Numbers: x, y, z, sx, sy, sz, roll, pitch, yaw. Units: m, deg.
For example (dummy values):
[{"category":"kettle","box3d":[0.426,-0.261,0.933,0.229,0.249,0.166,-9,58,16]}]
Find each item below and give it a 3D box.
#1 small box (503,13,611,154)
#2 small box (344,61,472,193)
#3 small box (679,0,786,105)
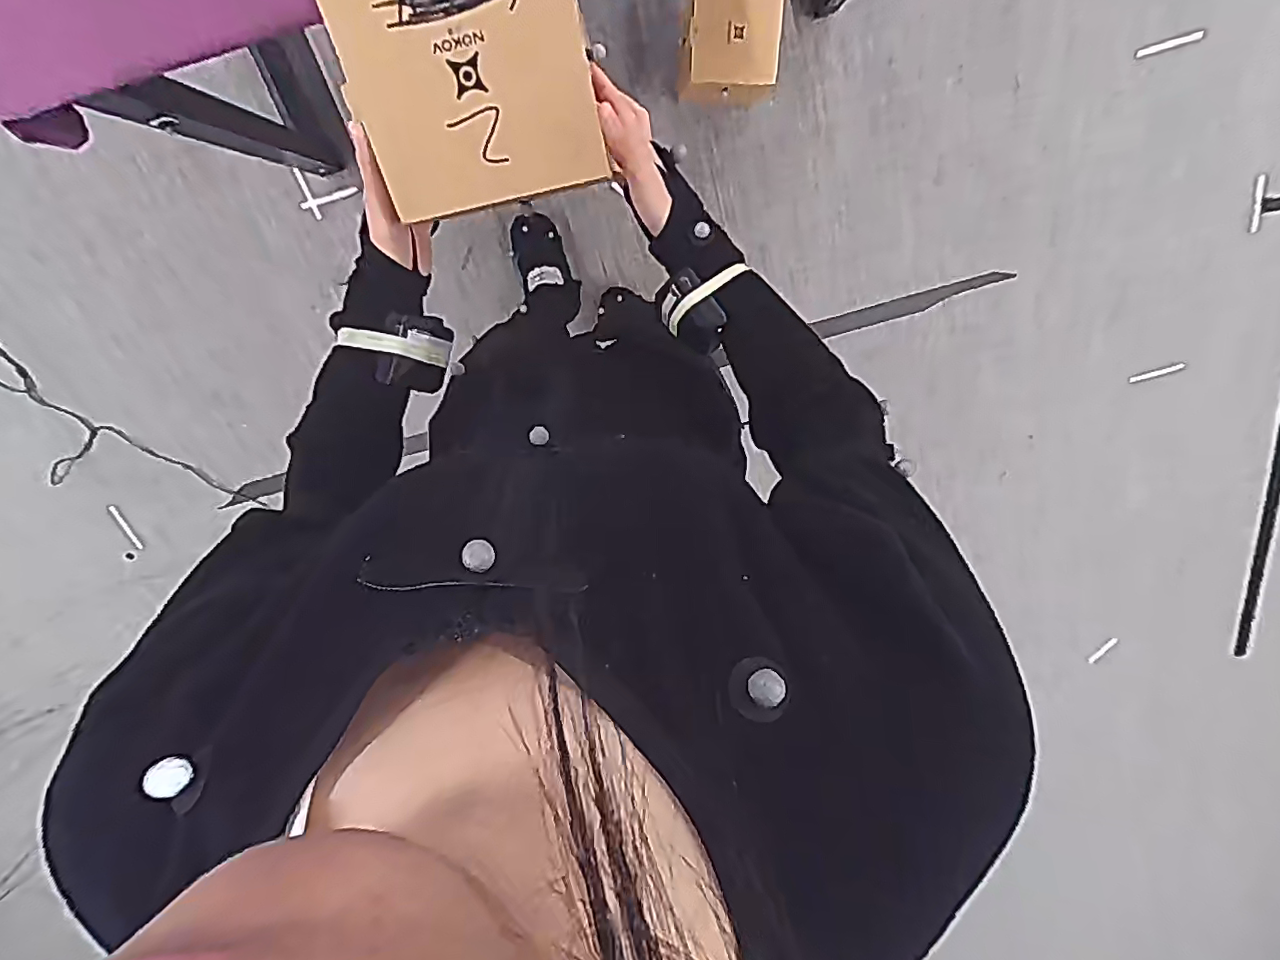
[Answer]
[{"category":"small box","box3d":[-0.165,-0.804,1.116,0.168,0.176,0.179,-17,114,3]},{"category":"small box","box3d":[-0.471,-0.723,1.126,0.168,0.176,0.179,-14,111,1]},{"category":"small box","box3d":[0.182,-0.889,1.109,0.179,0.176,0.168,0,113,-3]}]
